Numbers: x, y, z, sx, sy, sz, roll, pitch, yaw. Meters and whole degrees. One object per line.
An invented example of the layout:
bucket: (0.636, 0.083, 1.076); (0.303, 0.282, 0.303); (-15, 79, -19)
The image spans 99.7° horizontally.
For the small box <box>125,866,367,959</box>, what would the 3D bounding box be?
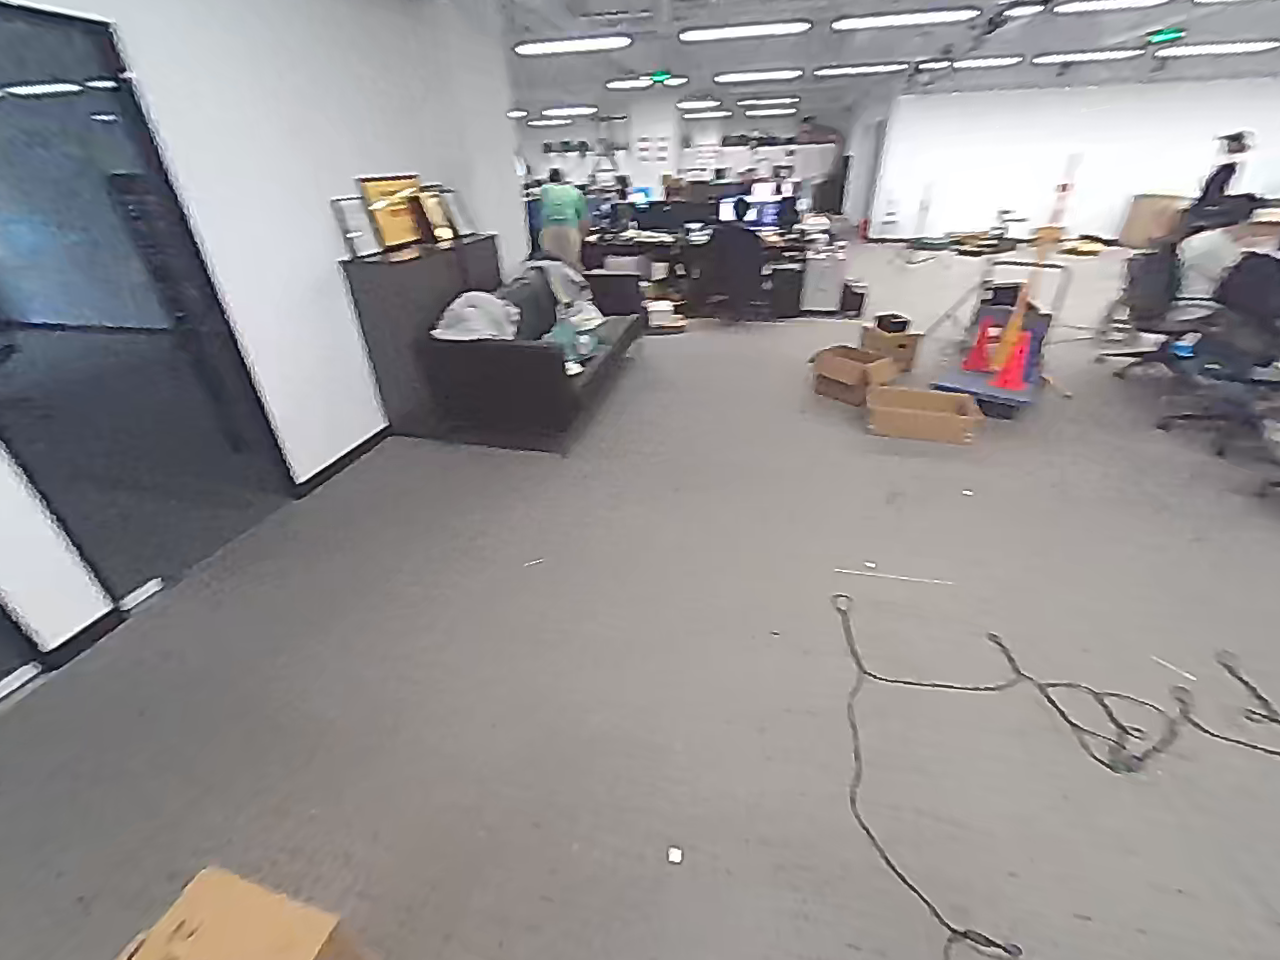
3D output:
small box: (-0.394, 0.525, 0.525); (0.179, 0.176, 0.168); (6, 32, 15)
